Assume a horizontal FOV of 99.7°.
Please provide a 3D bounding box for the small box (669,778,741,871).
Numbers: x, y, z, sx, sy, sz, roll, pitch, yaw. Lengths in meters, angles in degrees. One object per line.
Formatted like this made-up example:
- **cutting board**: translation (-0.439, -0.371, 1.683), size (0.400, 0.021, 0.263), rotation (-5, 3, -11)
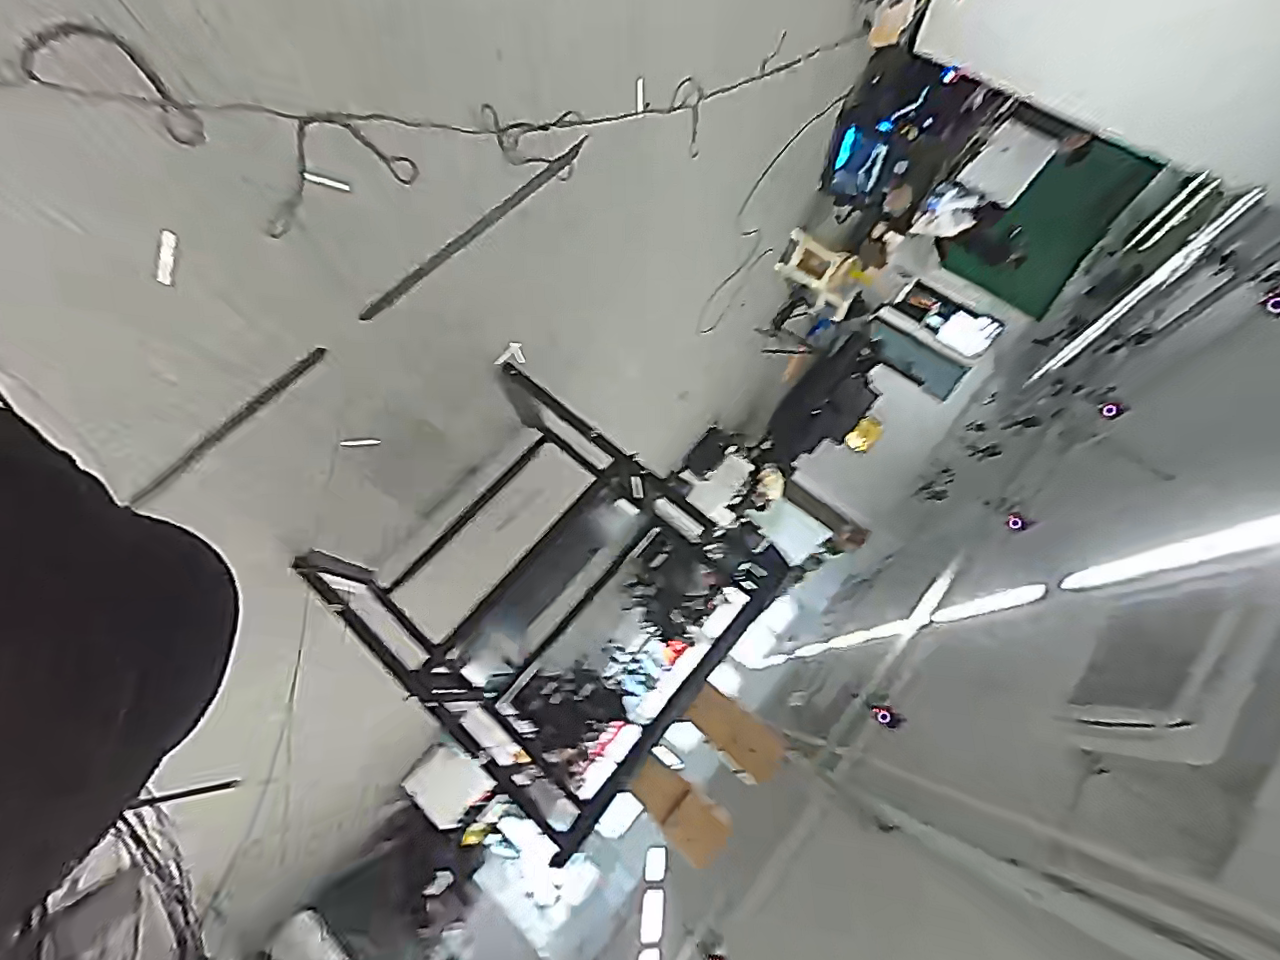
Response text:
- **small box**: translation (0.206, 1.115, 1.766), size (0.168, 0.176, 0.179), rotation (-48, 165, -12)

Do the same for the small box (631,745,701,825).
- **small box**: translation (0.084, 1.031, 1.838), size (0.168, 0.176, 0.179), rotation (-47, 165, -18)

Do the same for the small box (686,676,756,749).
- **small box**: translation (0.278, 0.815, 1.909), size (0.168, 0.176, 0.179), rotation (-48, 166, -16)

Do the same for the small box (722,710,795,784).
- **small box**: translation (0.403, 0.915, 1.870), size (0.168, 0.176, 0.179), rotation (-46, 164, -18)
